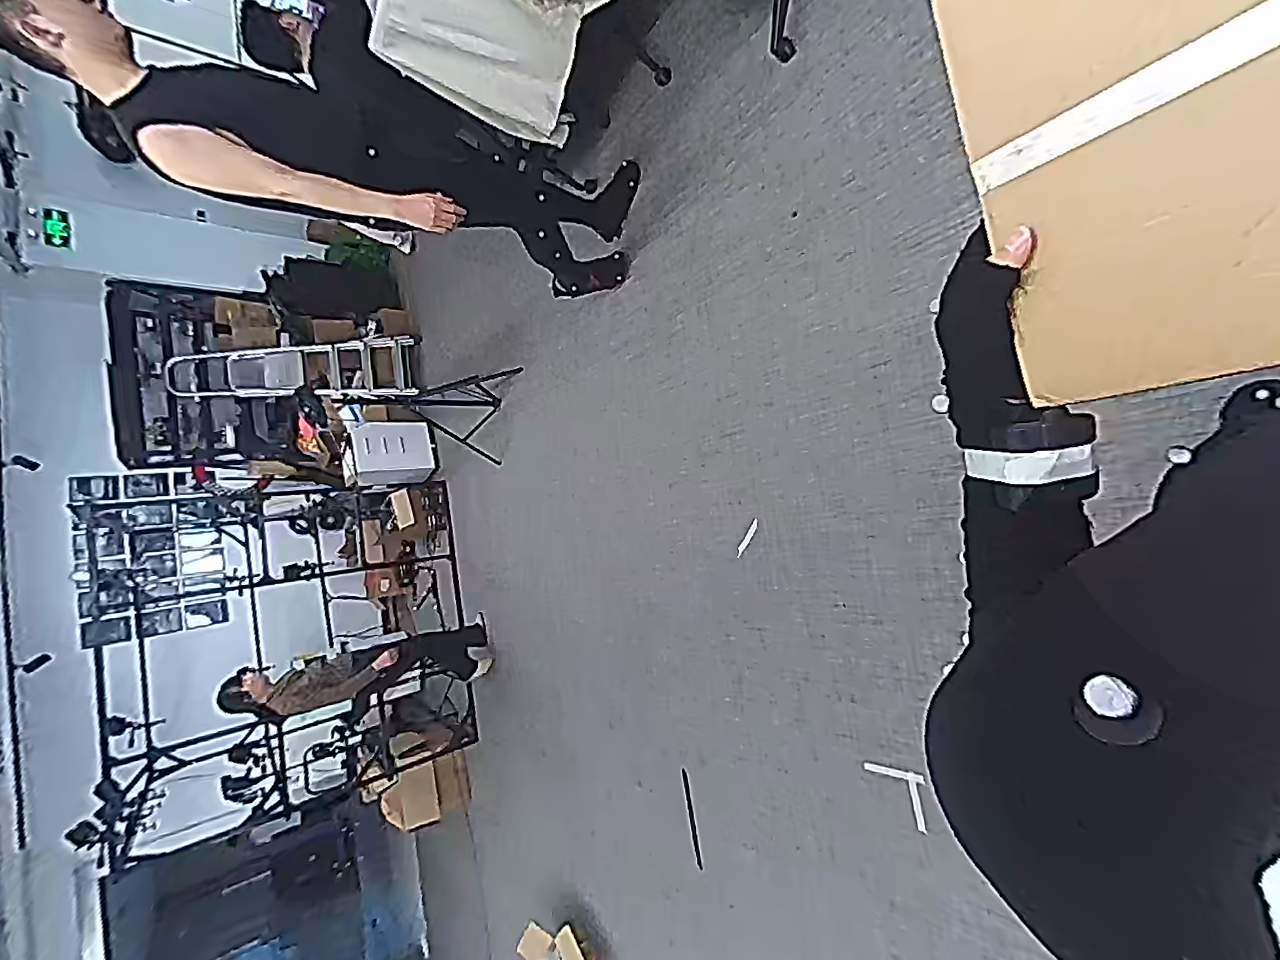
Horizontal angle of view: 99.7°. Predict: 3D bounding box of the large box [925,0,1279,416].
[{"bbox_3d":[0.455,-0.253,0.284,0.408,0.320,0.320,-11,95,56],"label":"large box"}]
